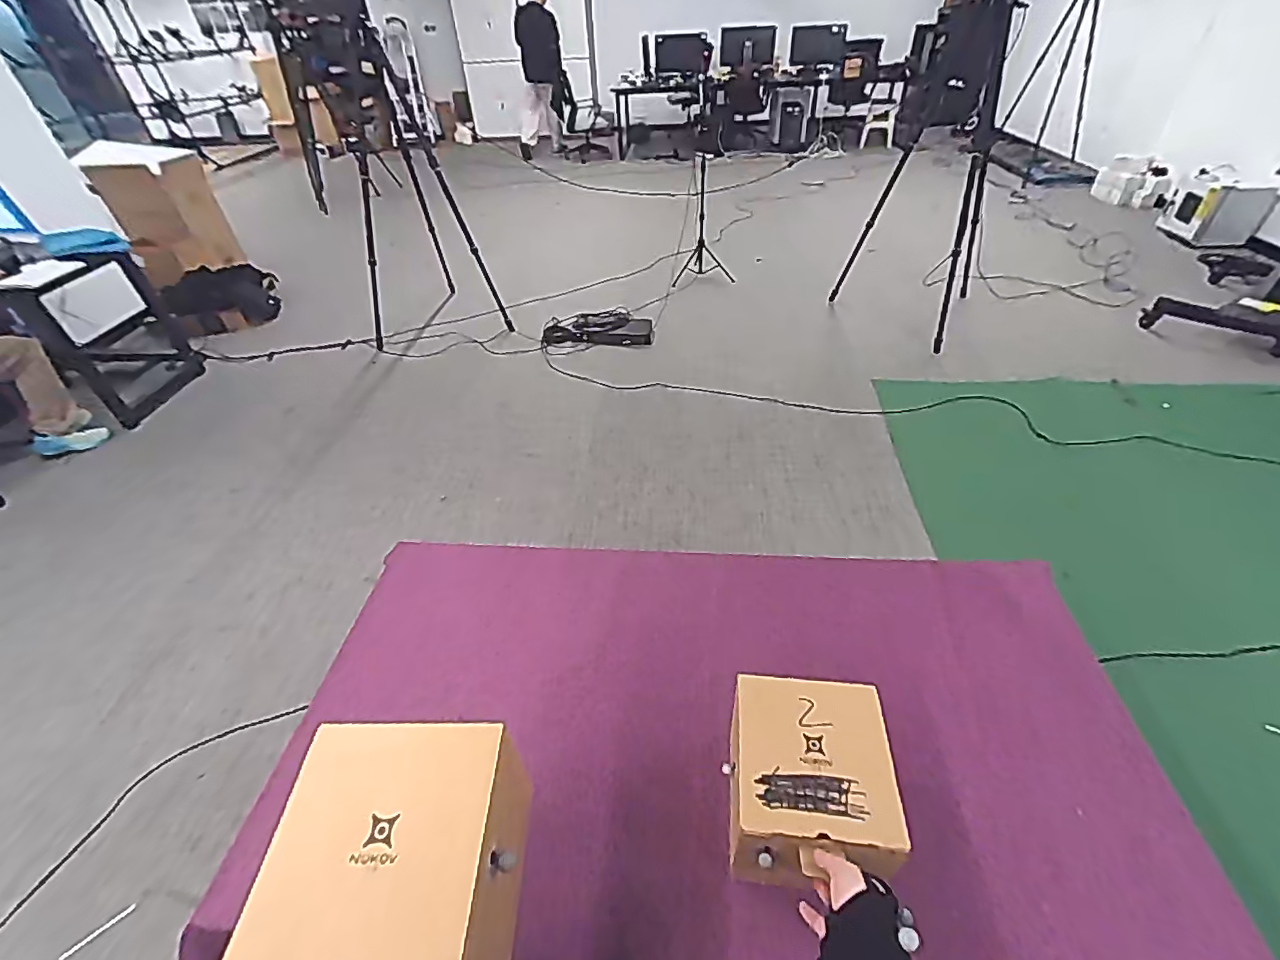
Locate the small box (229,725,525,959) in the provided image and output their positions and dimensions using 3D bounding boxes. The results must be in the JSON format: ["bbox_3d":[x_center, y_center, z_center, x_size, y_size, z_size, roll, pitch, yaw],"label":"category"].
[{"bbox_3d":[-0.205,0.343,0.487,0.168,0.176,0.179,0,45,0],"label":"small box"}]
